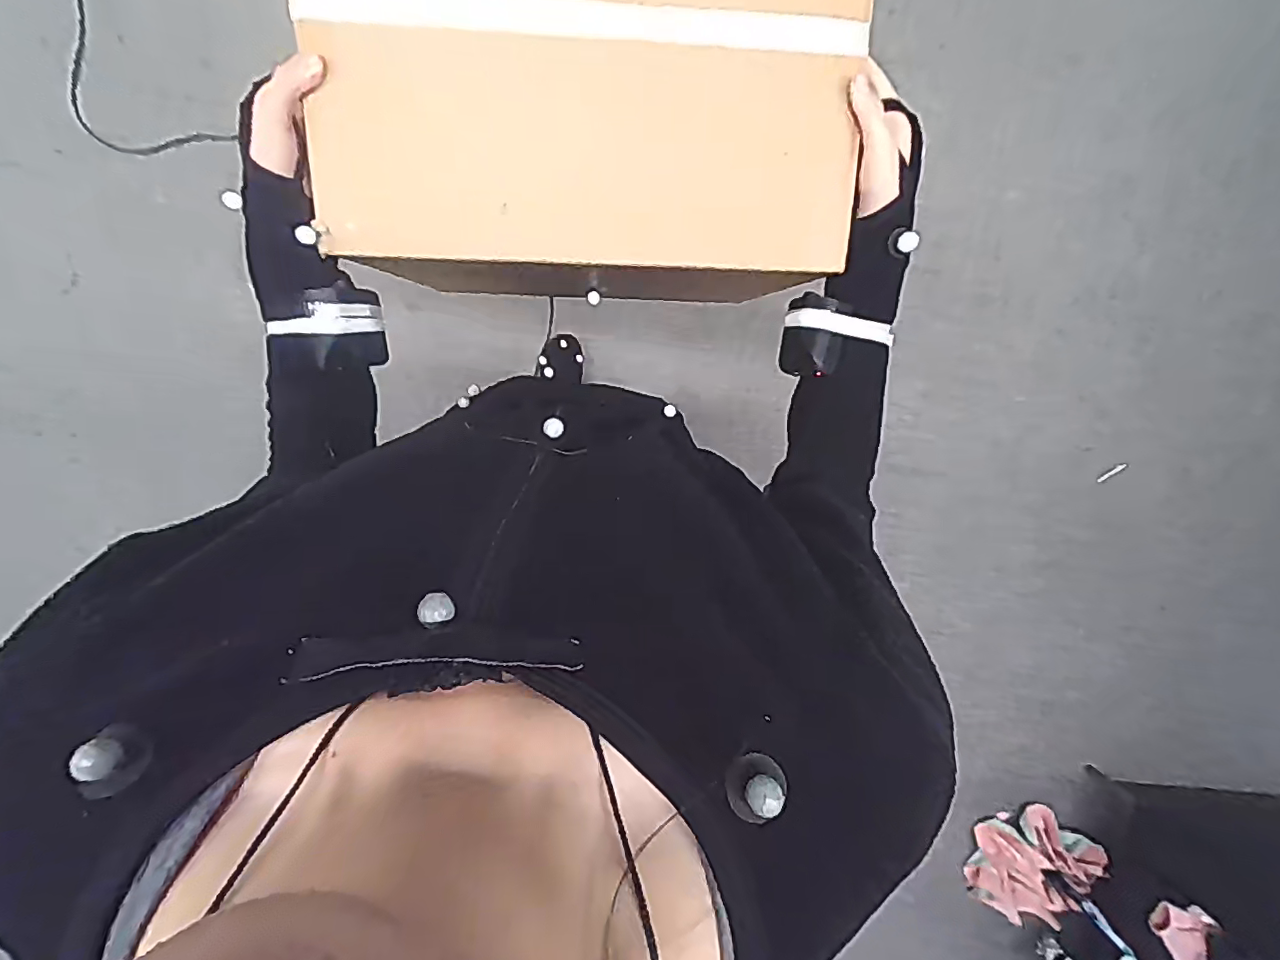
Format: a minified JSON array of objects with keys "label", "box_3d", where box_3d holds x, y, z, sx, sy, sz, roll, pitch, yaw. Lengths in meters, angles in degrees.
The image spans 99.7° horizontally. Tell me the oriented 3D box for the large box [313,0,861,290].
[{"label":"large box","box_3d":[-0.043,-0.364,0.541,0.408,0.320,0.320,1,104,-5]}]
